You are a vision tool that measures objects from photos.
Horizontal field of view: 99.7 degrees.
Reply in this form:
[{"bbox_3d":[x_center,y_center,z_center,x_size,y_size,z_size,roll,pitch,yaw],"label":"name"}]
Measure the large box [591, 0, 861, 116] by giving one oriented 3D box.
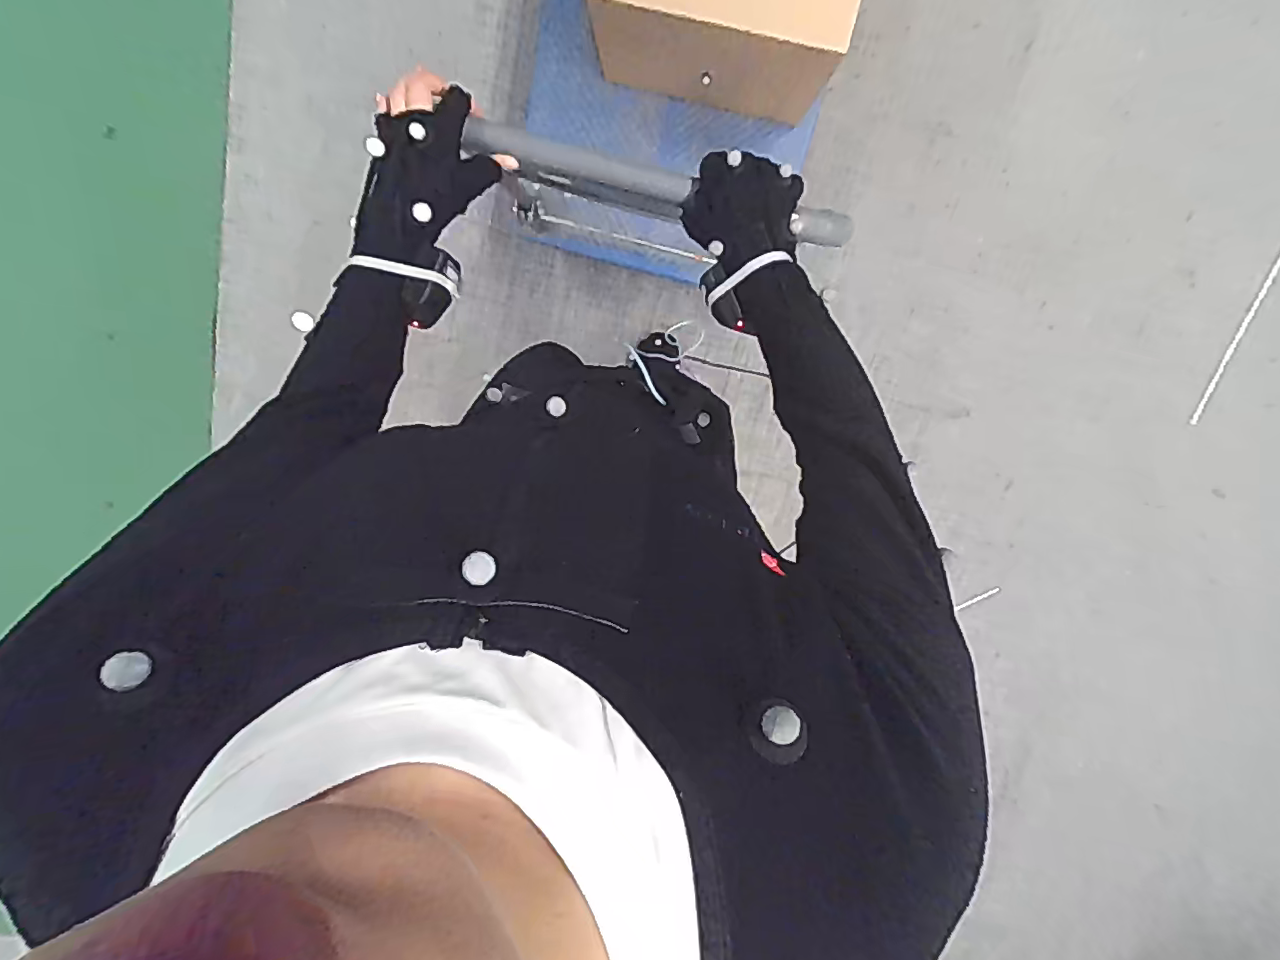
[{"bbox_3d":[0.158,-0.870,0.914,0.408,0.320,0.320,12,106,0],"label":"large box"}]
